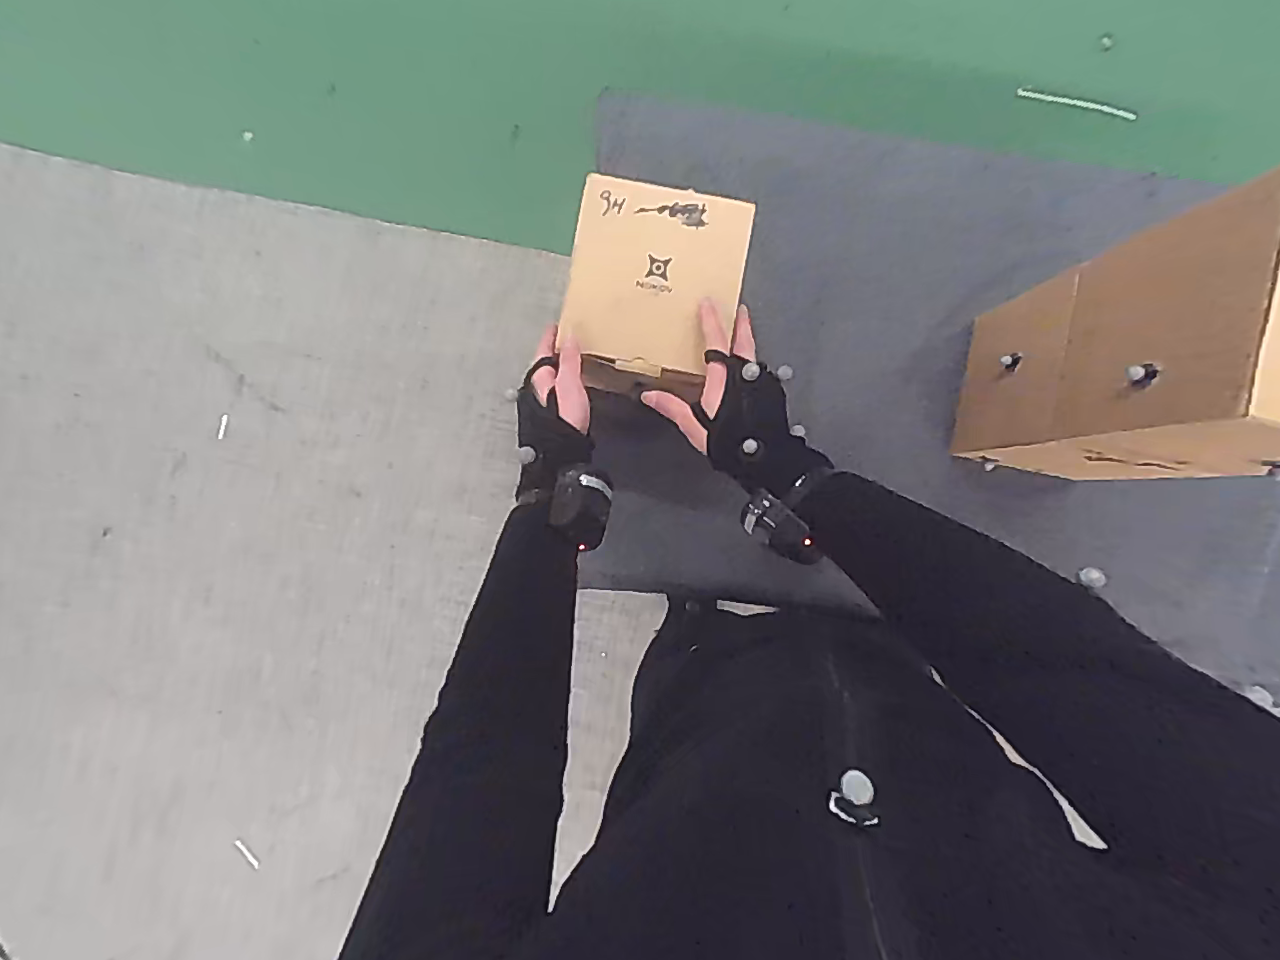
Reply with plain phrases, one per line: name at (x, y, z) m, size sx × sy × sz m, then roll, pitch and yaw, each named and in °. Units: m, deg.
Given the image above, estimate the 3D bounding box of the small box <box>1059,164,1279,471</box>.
small box at (0.478, -0.107, 0.424) m, size 0.168 × 0.176 × 0.179 m, roll 11°, pitch 88°, yaw -1°

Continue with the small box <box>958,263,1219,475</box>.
small box at (0.479, -0.104, 0.586) m, size 0.168 × 0.176 × 0.179 m, roll 11°, pitch 89°, yaw 0°

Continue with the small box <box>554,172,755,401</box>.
small box at (0.013, -0.190, 0.587) m, size 0.168 × 0.176 × 0.179 m, roll 10°, pitch 90°, yaw -1°
